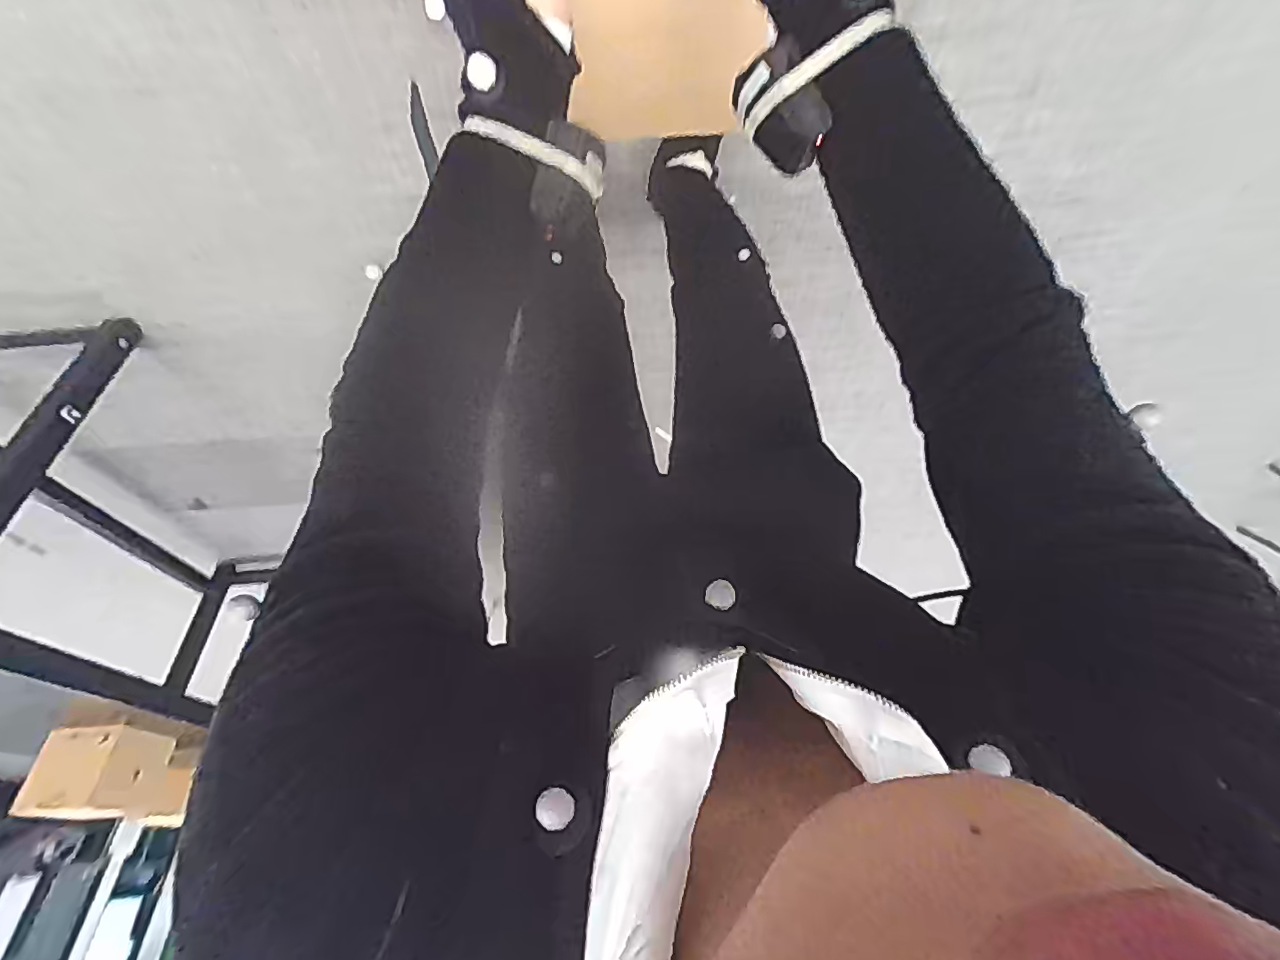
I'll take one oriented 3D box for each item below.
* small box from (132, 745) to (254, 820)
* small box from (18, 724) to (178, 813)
[{"bbox_3d":[-1.241,0.847,1.518,0.168,0.176,0.179,-4,145,3],"label":"small box"},{"bbox_3d":[-1.262,0.678,1.276,0.168,0.176,0.179,-3,146,0],"label":"small box"}]
